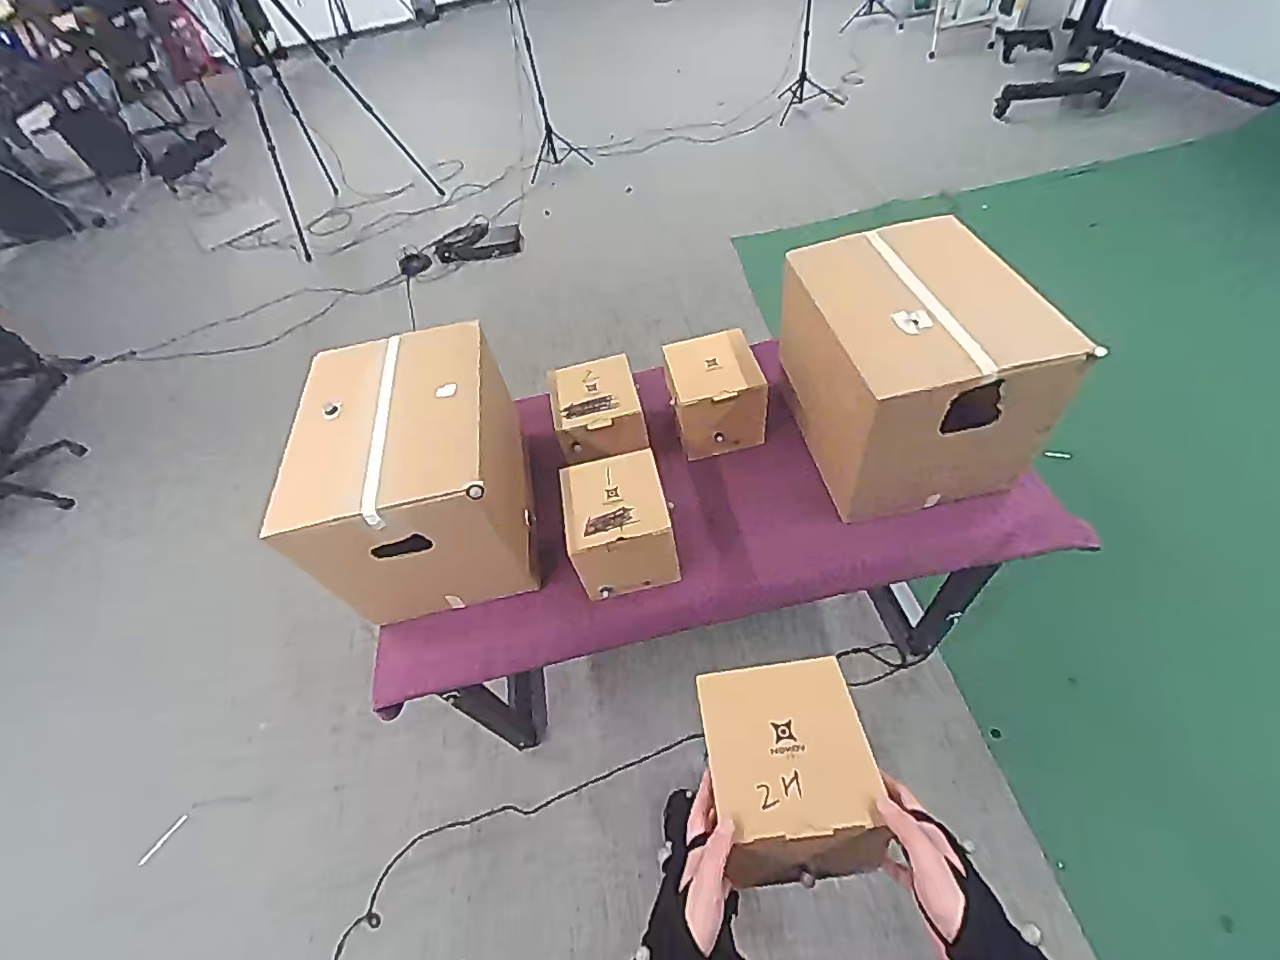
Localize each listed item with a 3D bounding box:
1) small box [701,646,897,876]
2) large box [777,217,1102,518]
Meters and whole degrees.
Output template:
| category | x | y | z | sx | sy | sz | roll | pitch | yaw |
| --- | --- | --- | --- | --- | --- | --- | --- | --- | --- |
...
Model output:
| category | x | y | z | sx | sy | sz | roll | pitch | yaw |
| --- | --- | --- | --- | --- | --- | --- | --- | --- | --- |
| small box | 0.167 | 0.320 | 0.618 | 0.168 | 0.176 | 0.179 | -10 | 40 | 4 |
| large box | 0.465 | -0.202 | 0.970 | 0.320 | 0.320 | 0.408 | -13 | 53 | 1 |
